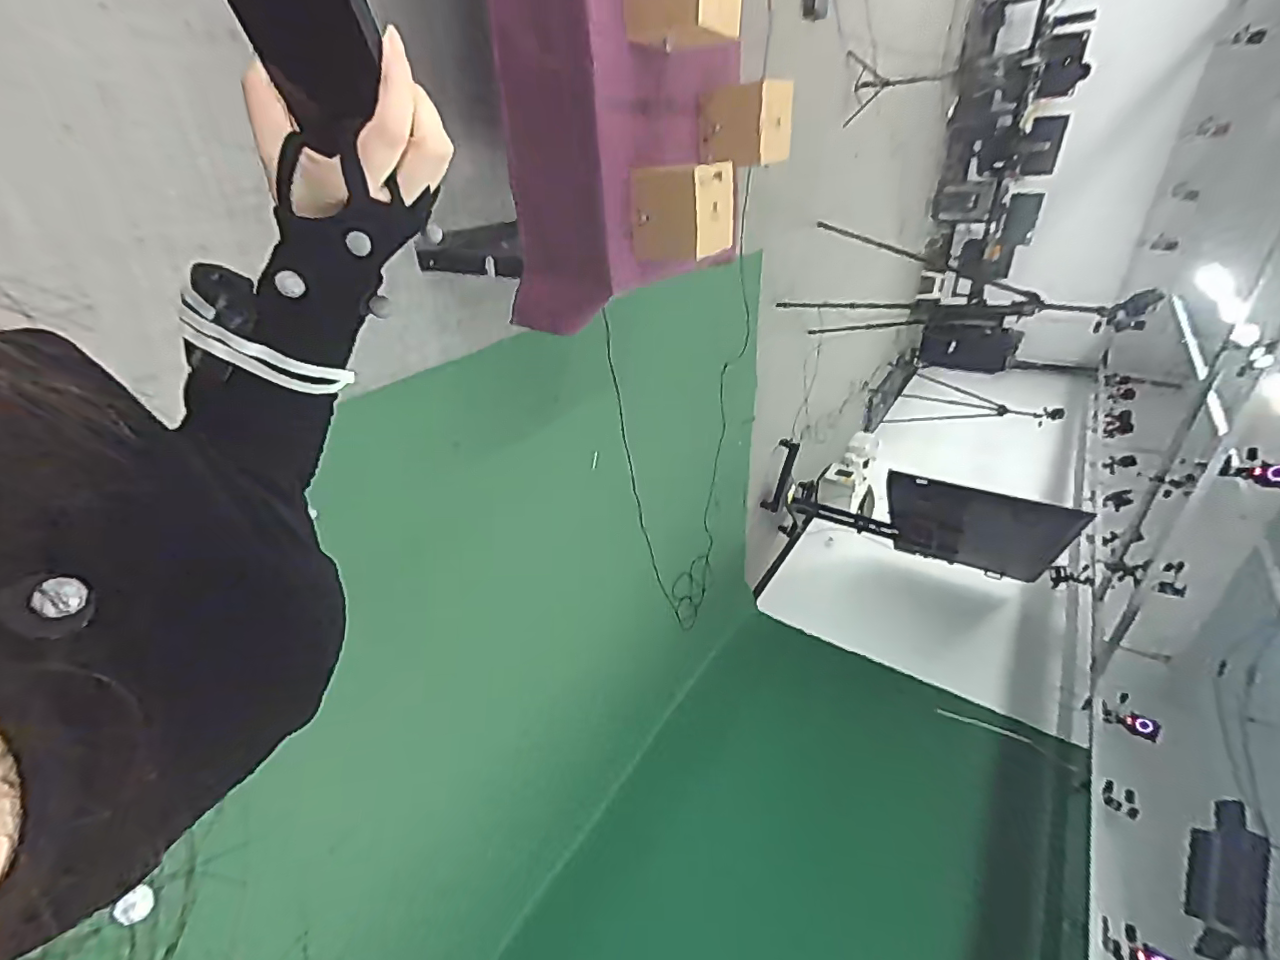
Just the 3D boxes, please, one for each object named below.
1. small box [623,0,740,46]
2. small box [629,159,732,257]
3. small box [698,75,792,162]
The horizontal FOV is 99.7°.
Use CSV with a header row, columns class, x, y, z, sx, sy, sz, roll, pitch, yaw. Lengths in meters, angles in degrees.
class,x,y,z,sx,sy,sz,roll,pitch,yaw
small box,0.079,-0.952,1.019,0.168,0.176,0.179,-35,134,-45
small box,0.091,-0.610,1.207,0.168,0.176,0.179,-40,136,-42
small box,0.258,-0.887,1.331,0.179,0.176,0.168,-41,136,-41
